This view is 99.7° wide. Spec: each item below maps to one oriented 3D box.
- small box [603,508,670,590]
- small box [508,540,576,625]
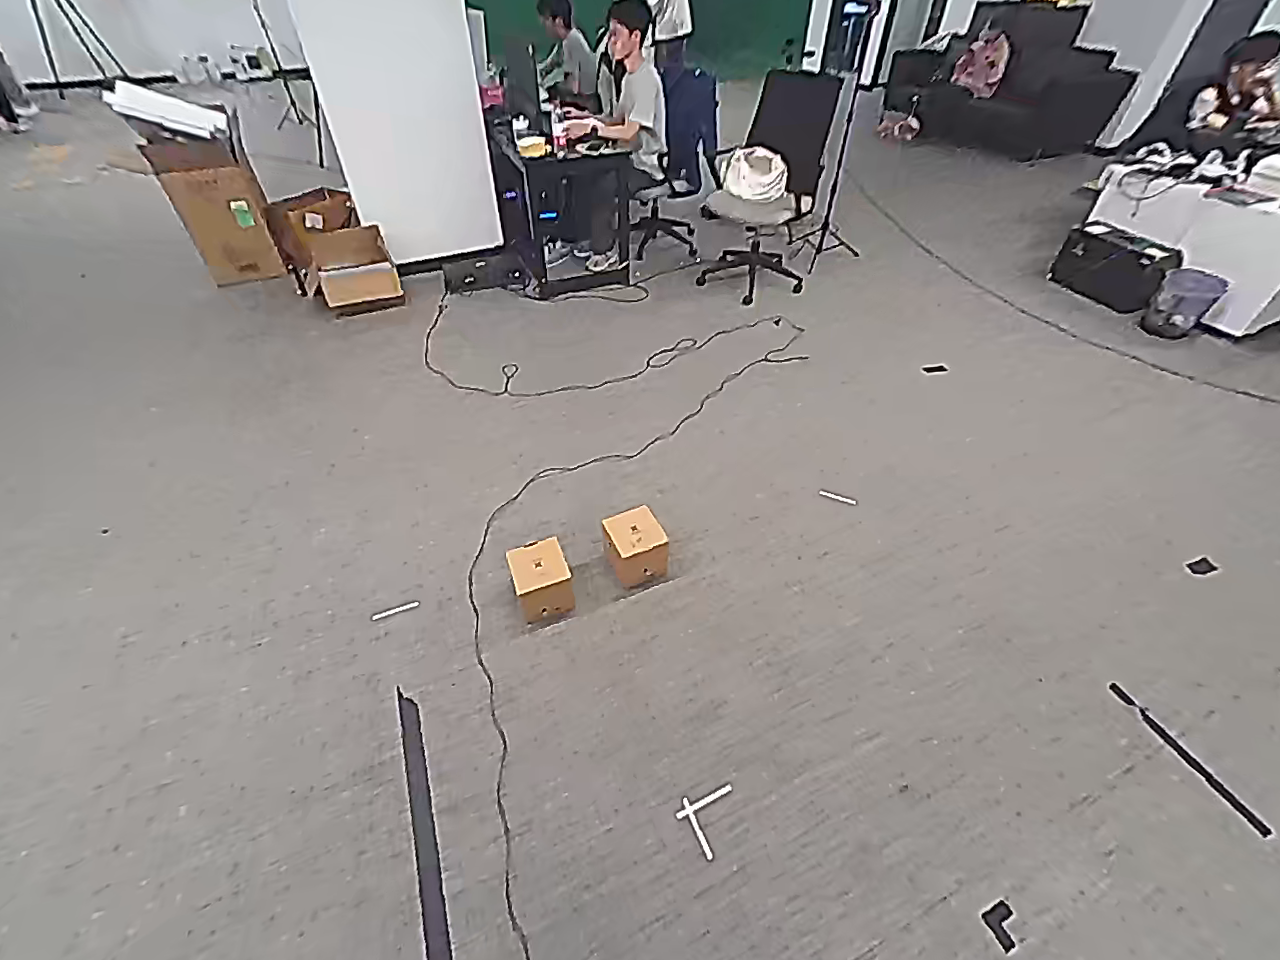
[{"bbox_3d":[-0.014,0.229,1.789,0.168,0.176,0.179,-19,48,-18],"label":"small box"},{"bbox_3d":[-0.306,0.323,1.696,0.168,0.176,0.179,-16,47,-15],"label":"small box"}]
